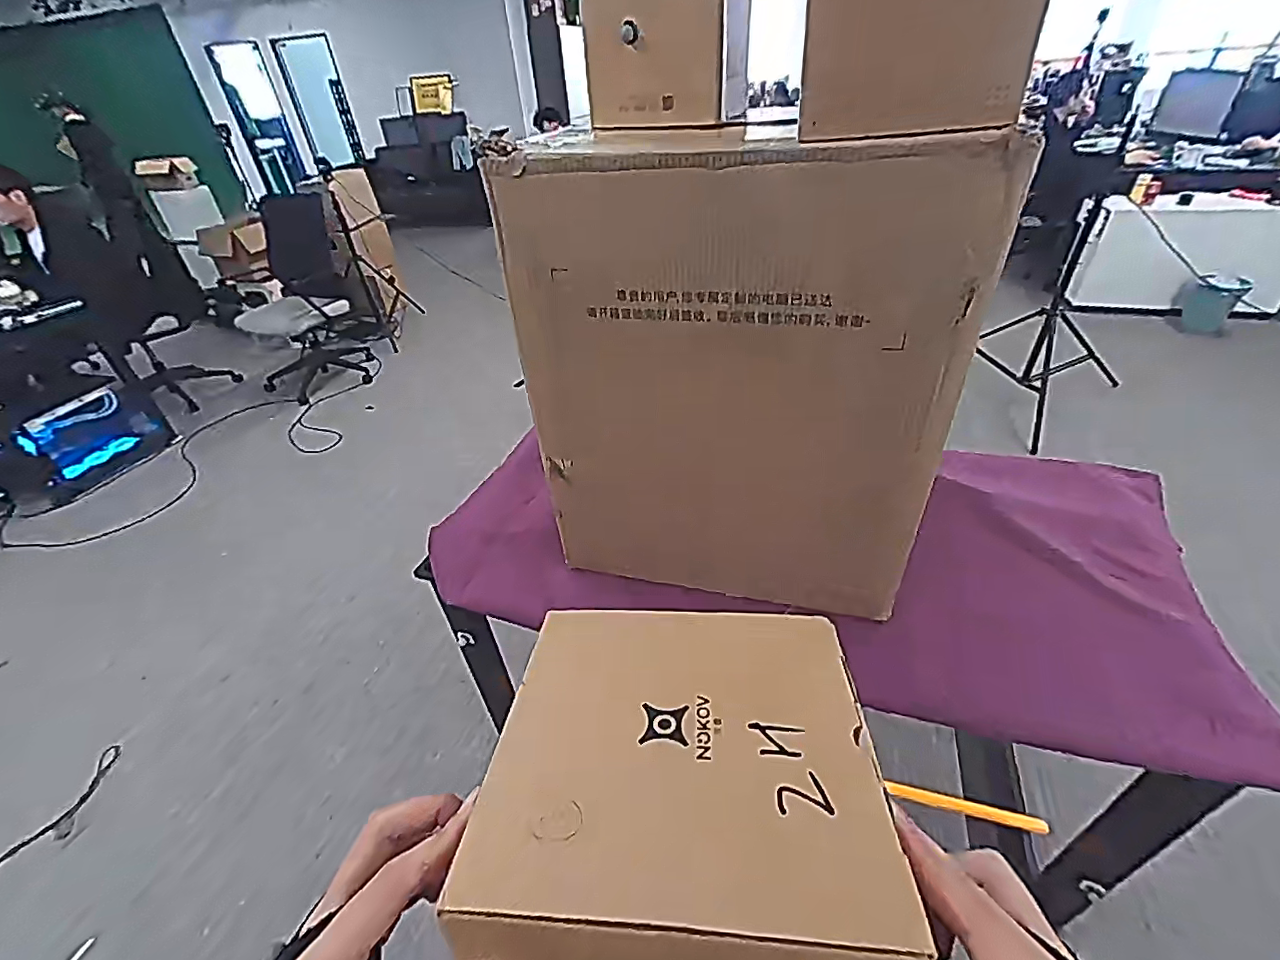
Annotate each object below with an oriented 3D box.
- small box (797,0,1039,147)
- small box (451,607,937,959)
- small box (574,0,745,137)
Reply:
[{"bbox_3d":[0.235,-0.405,0.479,0.179,0.176,0.168,5,38,15],"label":"small box"},{"bbox_3d":[0.028,0.189,0.294,0.179,0.176,0.168,0,27,6],"label":"small box"},{"bbox_3d":[0.035,-0.533,0.674,0.168,0.176,0.179,10,39,18],"label":"small box"}]
